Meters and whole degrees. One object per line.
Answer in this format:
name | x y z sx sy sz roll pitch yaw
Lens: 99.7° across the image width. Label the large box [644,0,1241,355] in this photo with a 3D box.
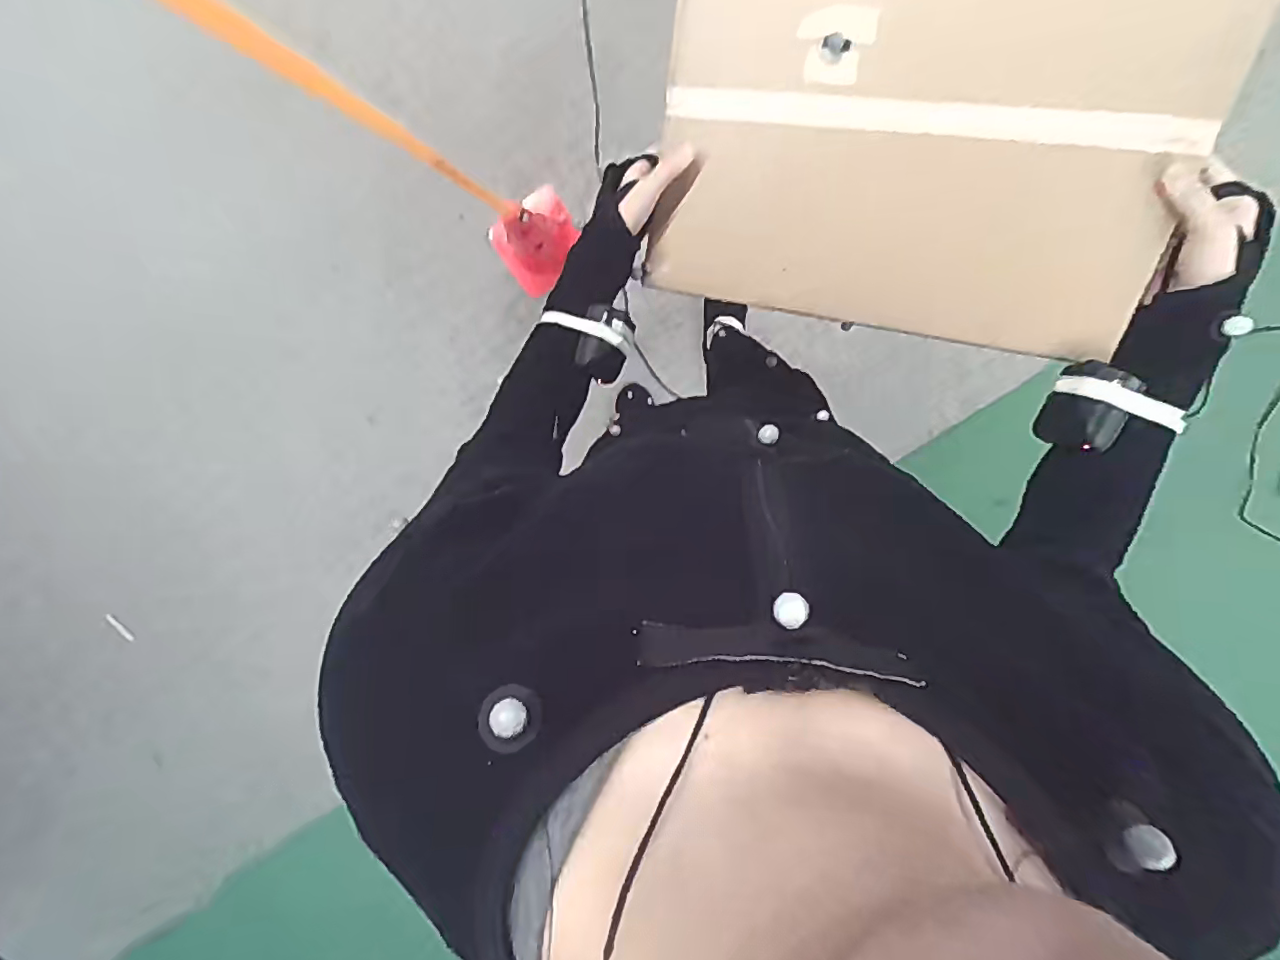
large box | 0.262 -0.339 0.580 0.408 0.320 0.320 16 113 16
